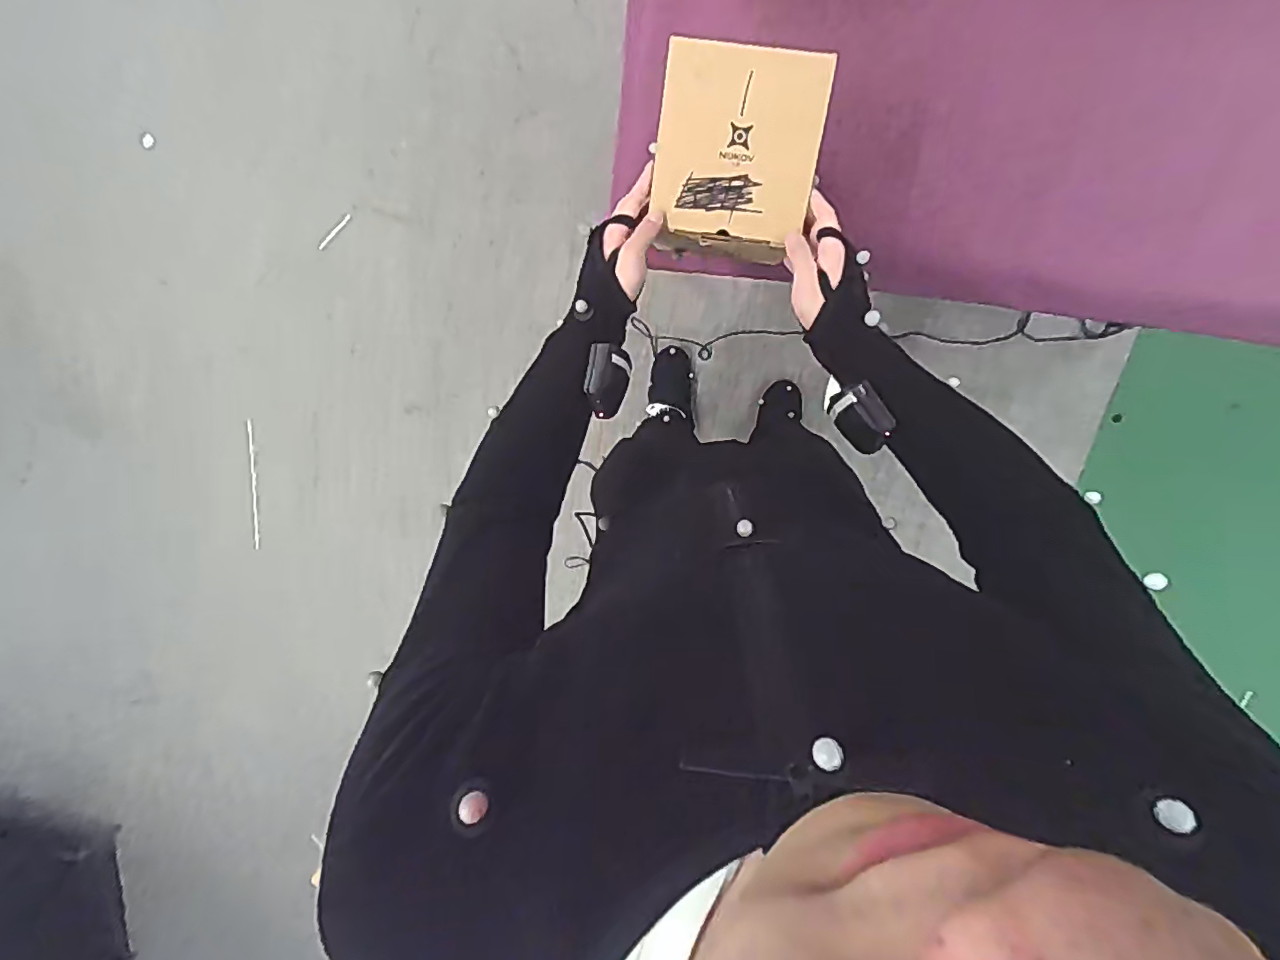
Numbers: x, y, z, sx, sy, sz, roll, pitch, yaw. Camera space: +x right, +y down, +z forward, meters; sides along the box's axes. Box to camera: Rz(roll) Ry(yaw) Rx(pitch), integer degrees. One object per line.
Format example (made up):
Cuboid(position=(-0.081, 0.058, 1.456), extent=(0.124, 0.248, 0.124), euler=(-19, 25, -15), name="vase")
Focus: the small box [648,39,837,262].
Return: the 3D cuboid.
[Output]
Cuboid(position=(0.108, -0.360, 0.626), extent=(0.168, 0.176, 0.179), euler=(9, 106, 3), name="small box")
